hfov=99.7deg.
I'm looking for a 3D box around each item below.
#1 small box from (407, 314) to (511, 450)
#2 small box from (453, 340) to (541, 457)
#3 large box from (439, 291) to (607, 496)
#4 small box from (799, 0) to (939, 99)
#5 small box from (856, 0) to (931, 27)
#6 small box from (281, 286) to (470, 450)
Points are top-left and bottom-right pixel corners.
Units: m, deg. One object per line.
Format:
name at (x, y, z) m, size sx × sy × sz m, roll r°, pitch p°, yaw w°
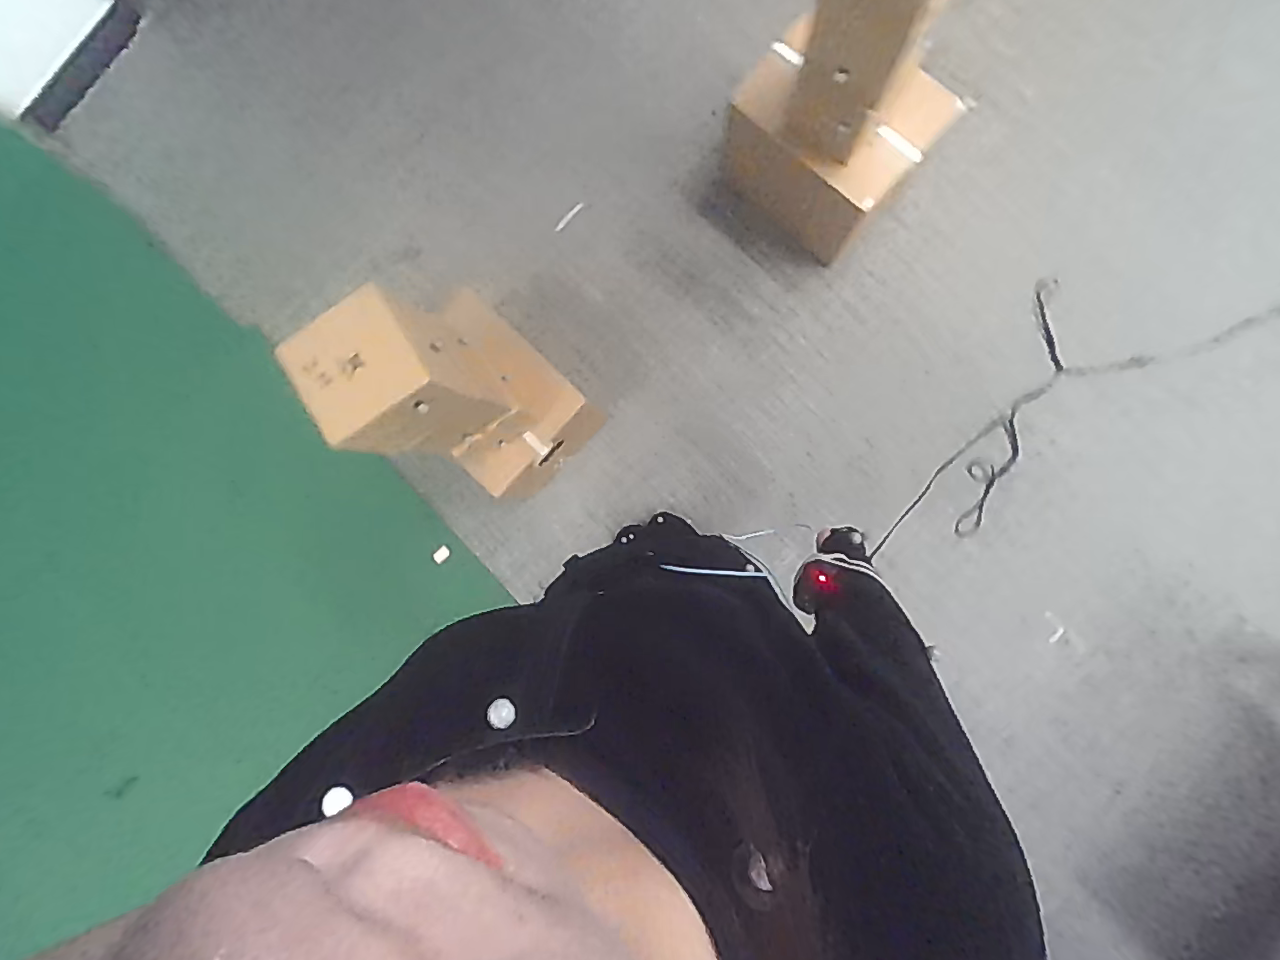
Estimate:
small box at (-0.369, -0.168, 0.999) m, size 0.168 × 0.176 × 0.179 m, roll -33°, pitch 88°, yaw 5°
small box at (-0.342, -0.164, 1.160) m, size 0.168 × 0.176 × 0.179 m, roll -36°, pitch 86°, yaw 5°
large box at (-0.351, -0.201, 1.405) m, size 0.408 × 0.320 × 0.320 m, roll 43°, pitch 93°, yaw 6°
small box at (0.402, -0.810, 0.932) m, size 0.179 × 0.176 × 0.168 m, roll 35°, pitch 94°, yaw 4°
small box at (0.383, -0.810, 0.768) m, size 0.179 × 0.176 × 0.168 m, roll 34°, pitch 94°, yaw 5°
small box at (-0.389, -0.160, 0.835) m, size 0.179 × 0.176 × 0.168 m, roll -32°, pitch 86°, yaw 6°
